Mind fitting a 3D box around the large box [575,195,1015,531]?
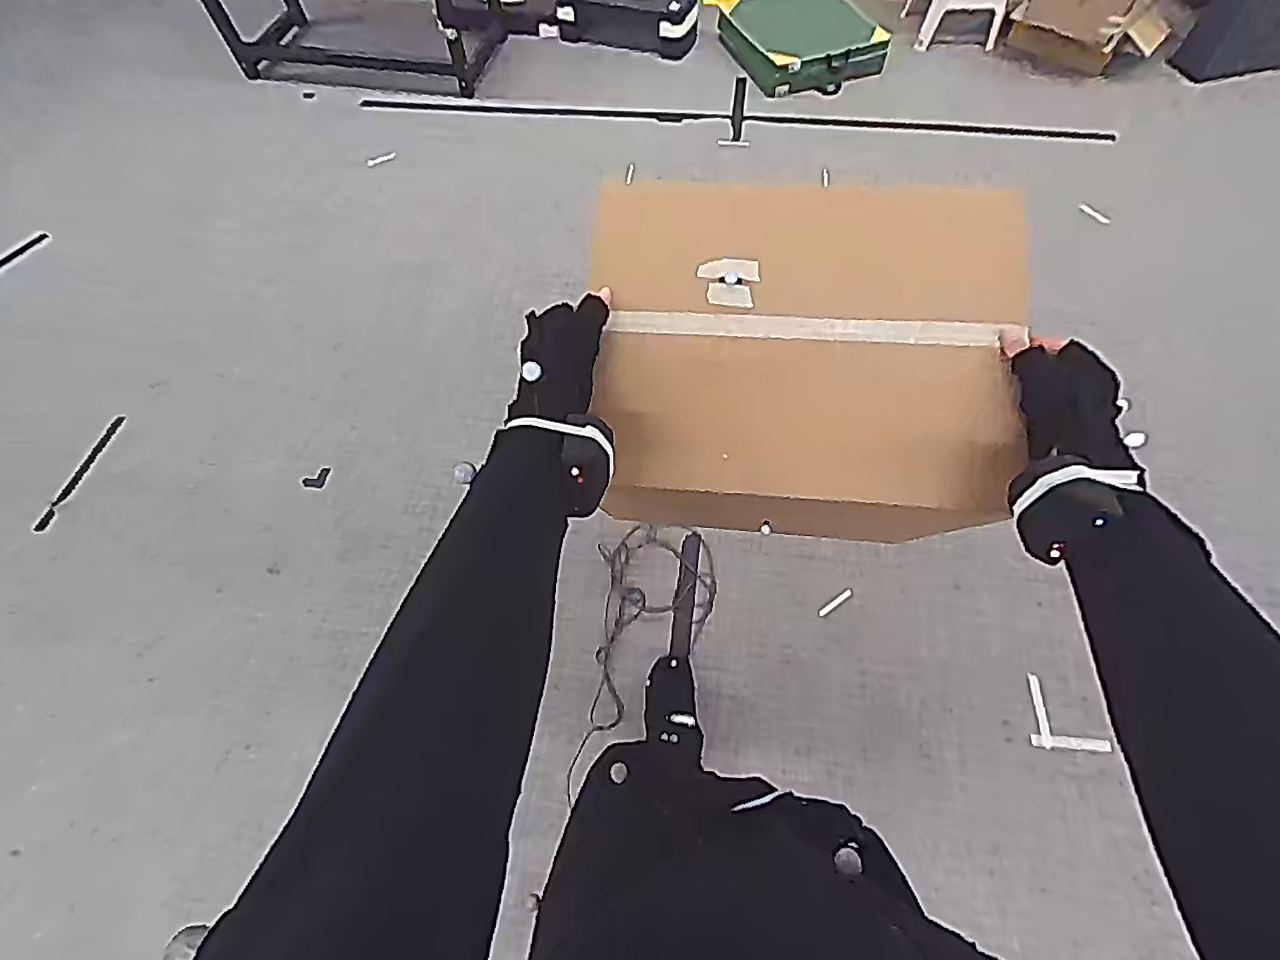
[{"bbox_3d":[0.163,-0.112,0.669,0.408,0.320,0.320,4,78,7],"label":"large box"}]
